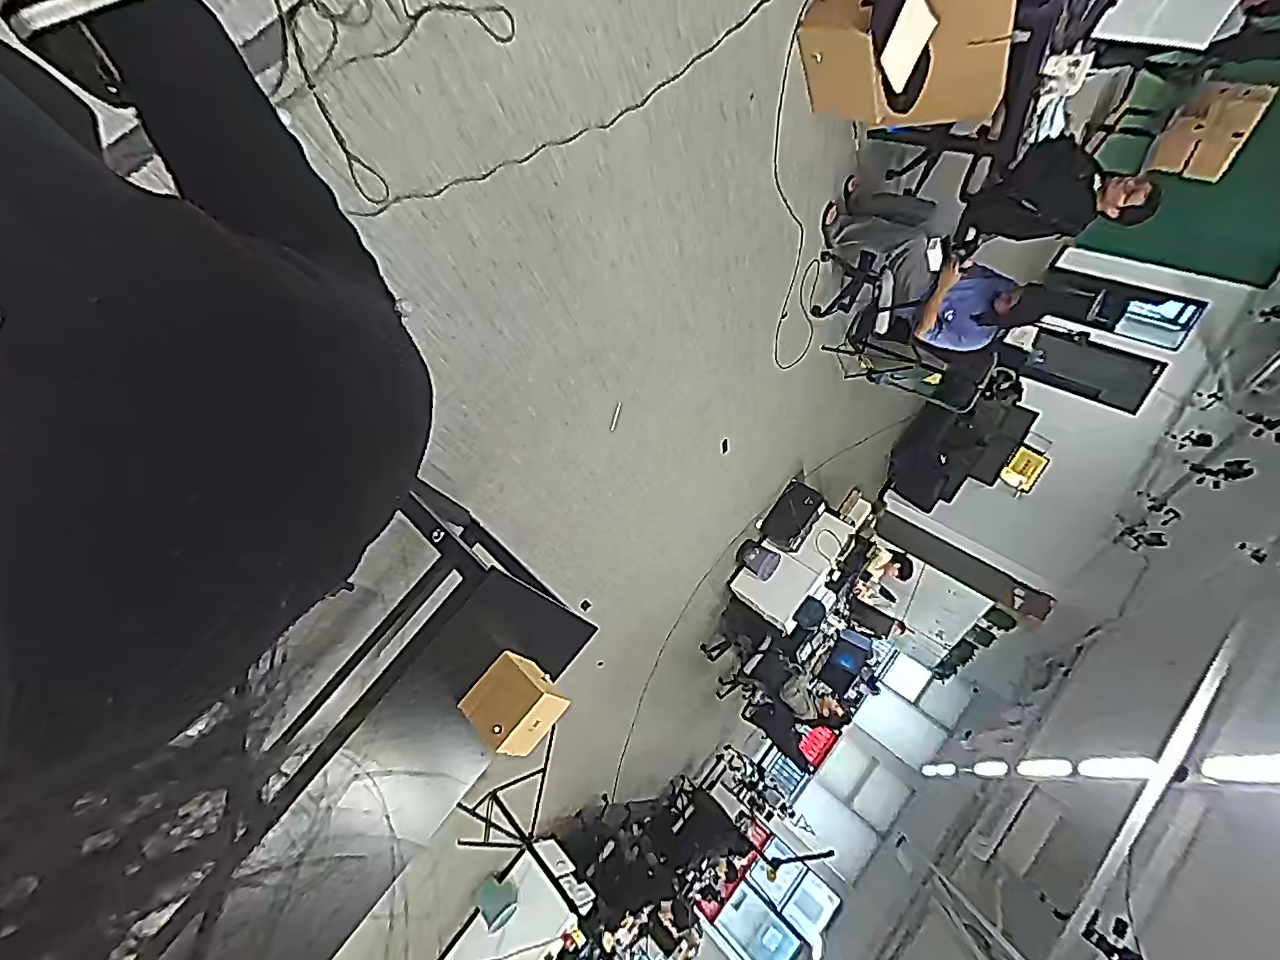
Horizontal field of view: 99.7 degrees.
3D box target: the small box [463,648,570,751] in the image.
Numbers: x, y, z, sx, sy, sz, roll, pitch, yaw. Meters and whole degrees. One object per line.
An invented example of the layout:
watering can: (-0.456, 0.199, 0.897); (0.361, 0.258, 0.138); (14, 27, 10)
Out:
small box: (-0.320, 0.565, 1.398); (0.179, 0.176, 0.168); (-49, 148, -11)
